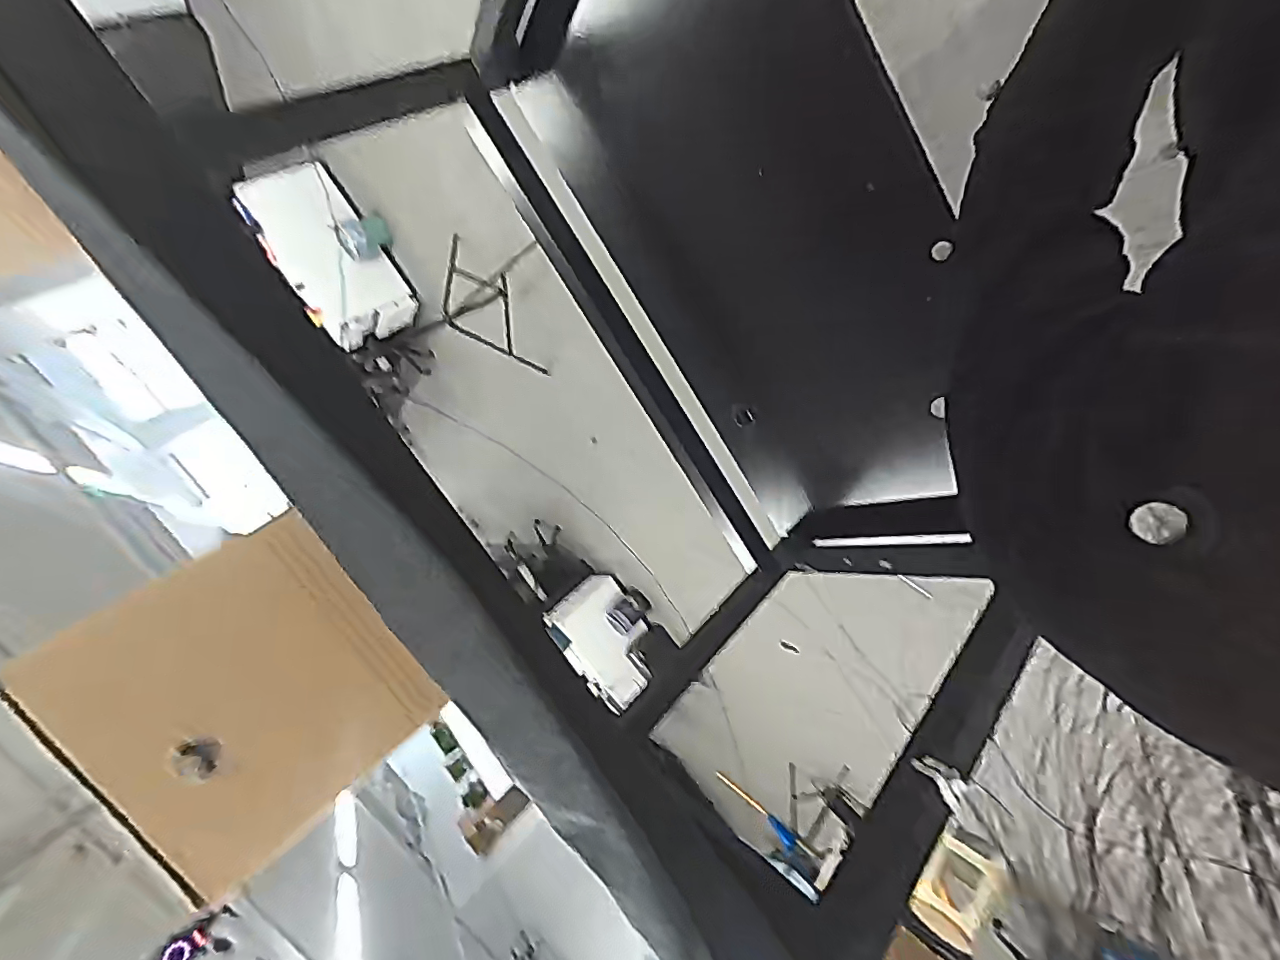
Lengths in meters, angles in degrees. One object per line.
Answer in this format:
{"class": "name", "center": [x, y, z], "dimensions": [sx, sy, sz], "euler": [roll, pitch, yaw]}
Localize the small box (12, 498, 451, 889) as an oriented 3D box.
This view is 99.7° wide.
{"class": "small box", "center": [-0.267, 0.136, 0.408], "dimensions": [0.179, 0.176, 0.168], "euler": [56, 154, -8]}
